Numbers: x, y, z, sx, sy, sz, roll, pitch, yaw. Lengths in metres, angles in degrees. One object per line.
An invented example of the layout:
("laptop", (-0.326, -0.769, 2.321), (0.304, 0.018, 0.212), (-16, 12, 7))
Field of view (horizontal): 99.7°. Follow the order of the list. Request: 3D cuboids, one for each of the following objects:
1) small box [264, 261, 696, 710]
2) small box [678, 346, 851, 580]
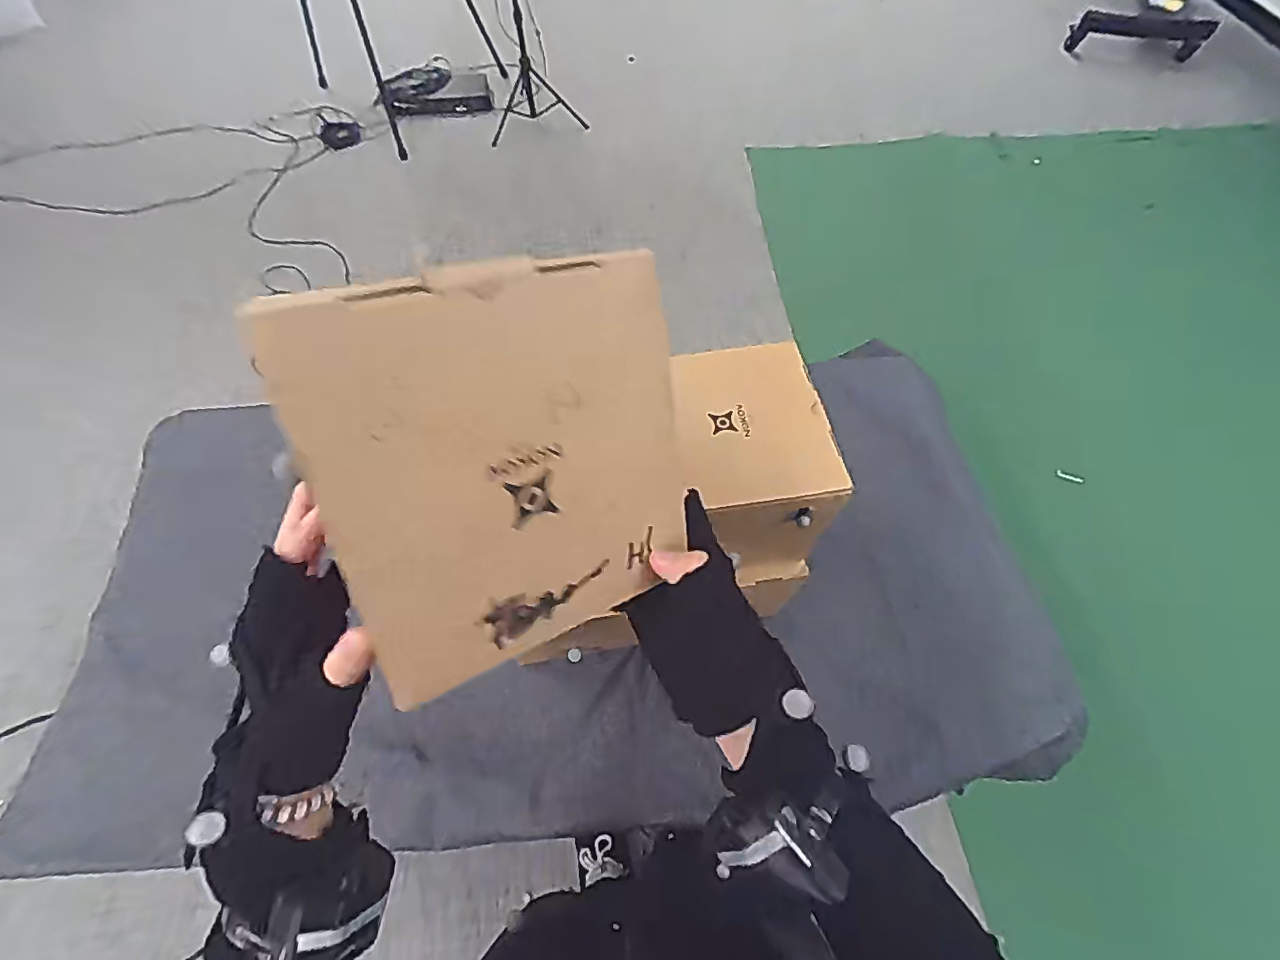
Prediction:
("small box", (-0.087, -0.021, 0.307), (0.168, 0.179, 0.176), (-22, 29, -32))
("small box", (0.078, -0.008, 0.547), (0.179, 0.176, 0.168), (-8, 61, -5))
